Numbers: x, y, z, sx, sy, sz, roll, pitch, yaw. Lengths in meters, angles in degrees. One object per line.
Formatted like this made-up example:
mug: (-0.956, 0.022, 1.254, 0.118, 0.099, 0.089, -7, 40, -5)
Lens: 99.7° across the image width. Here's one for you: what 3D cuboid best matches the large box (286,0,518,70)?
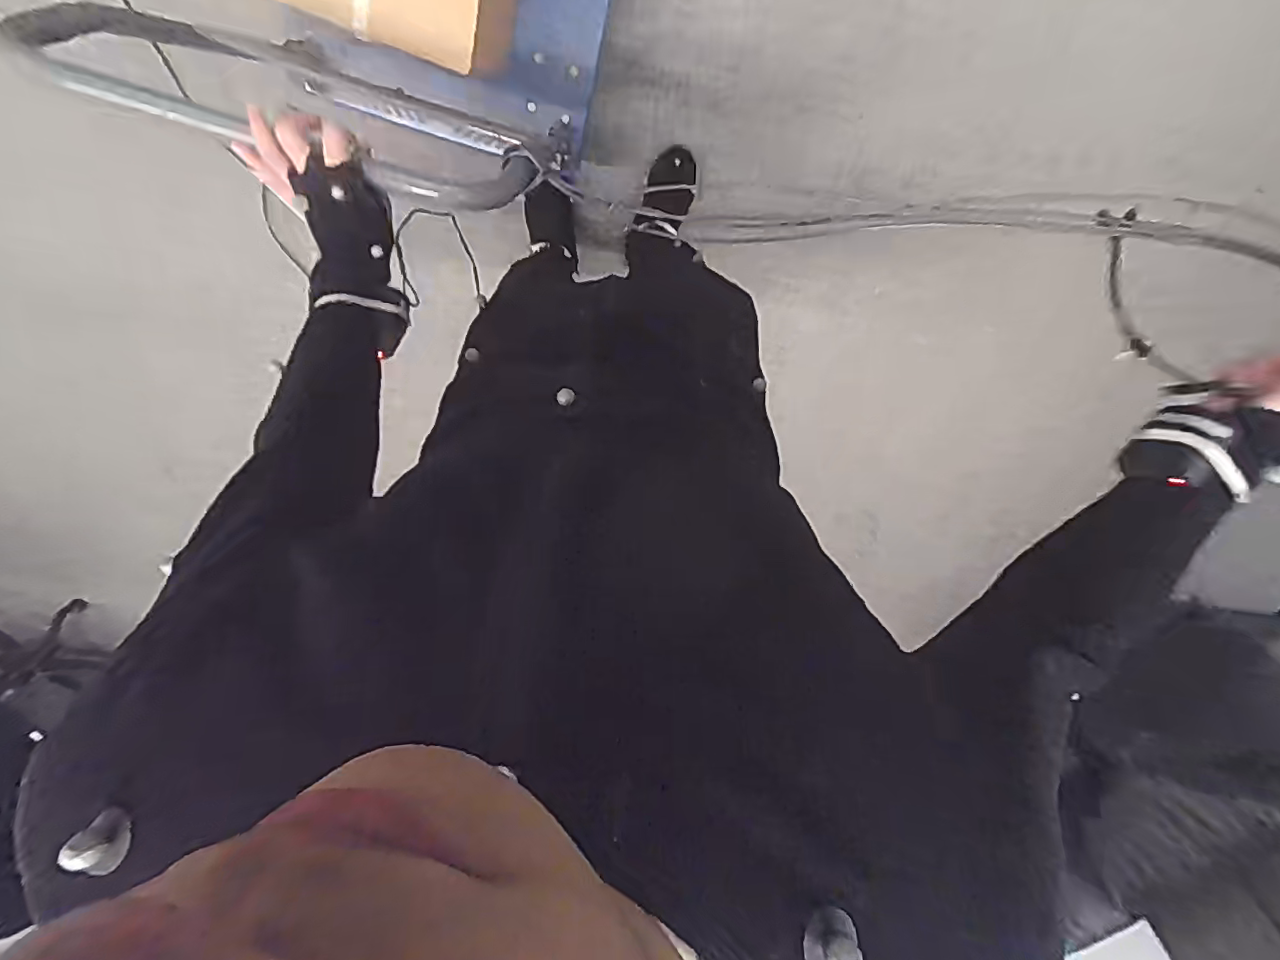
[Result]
large box: (-0.336, -0.881, 0.776, 0.320, 0.320, 0.408, 15, 126, -13)
